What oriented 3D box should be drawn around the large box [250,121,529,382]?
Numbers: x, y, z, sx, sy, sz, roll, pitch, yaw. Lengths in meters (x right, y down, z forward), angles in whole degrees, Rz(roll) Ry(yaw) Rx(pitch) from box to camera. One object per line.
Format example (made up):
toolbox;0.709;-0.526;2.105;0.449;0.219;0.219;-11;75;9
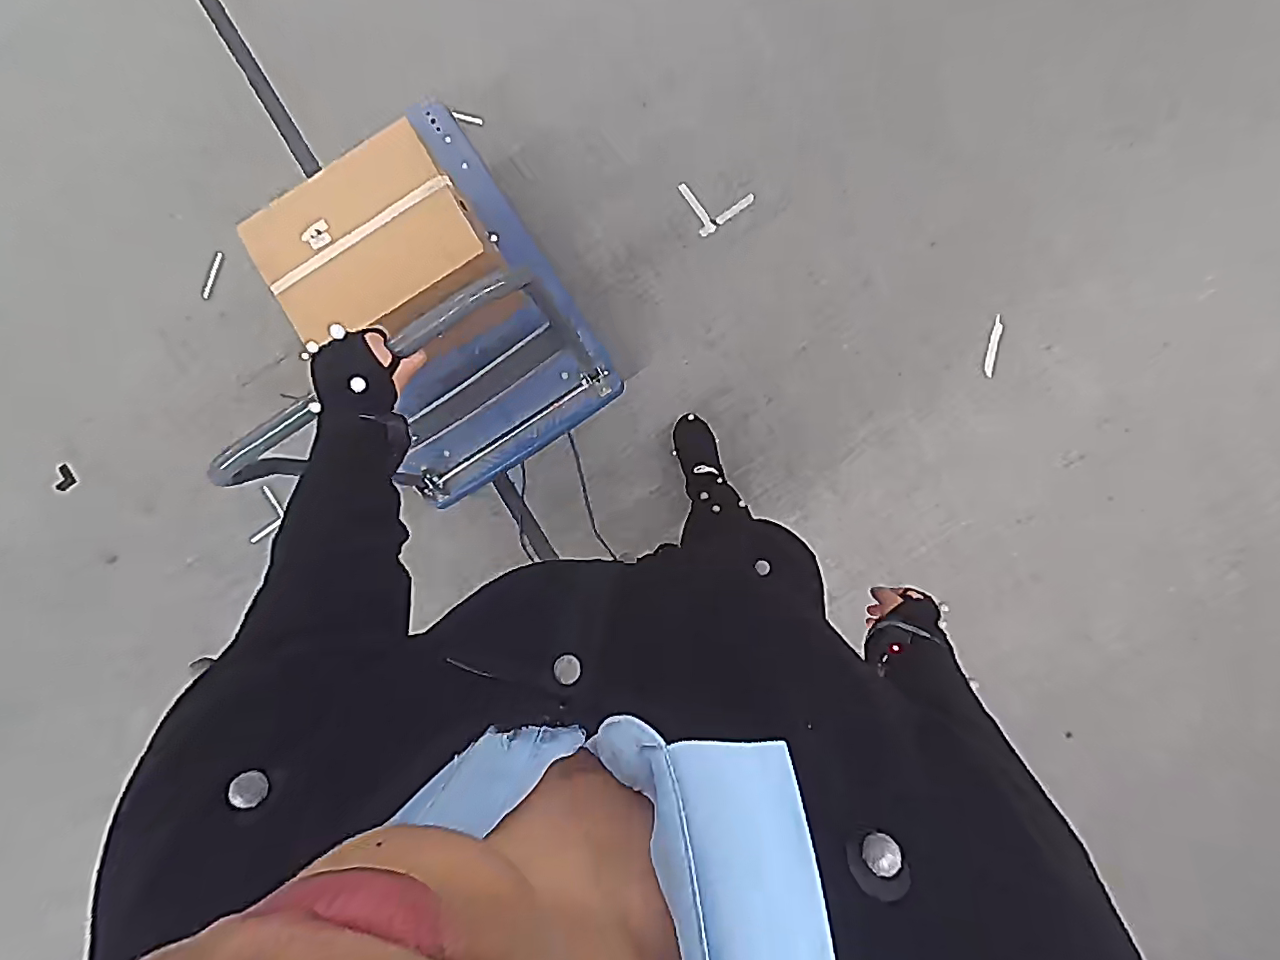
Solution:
large box;-0.526;-0.473;1.210;0.408;0.320;0.320;-31;87;4
